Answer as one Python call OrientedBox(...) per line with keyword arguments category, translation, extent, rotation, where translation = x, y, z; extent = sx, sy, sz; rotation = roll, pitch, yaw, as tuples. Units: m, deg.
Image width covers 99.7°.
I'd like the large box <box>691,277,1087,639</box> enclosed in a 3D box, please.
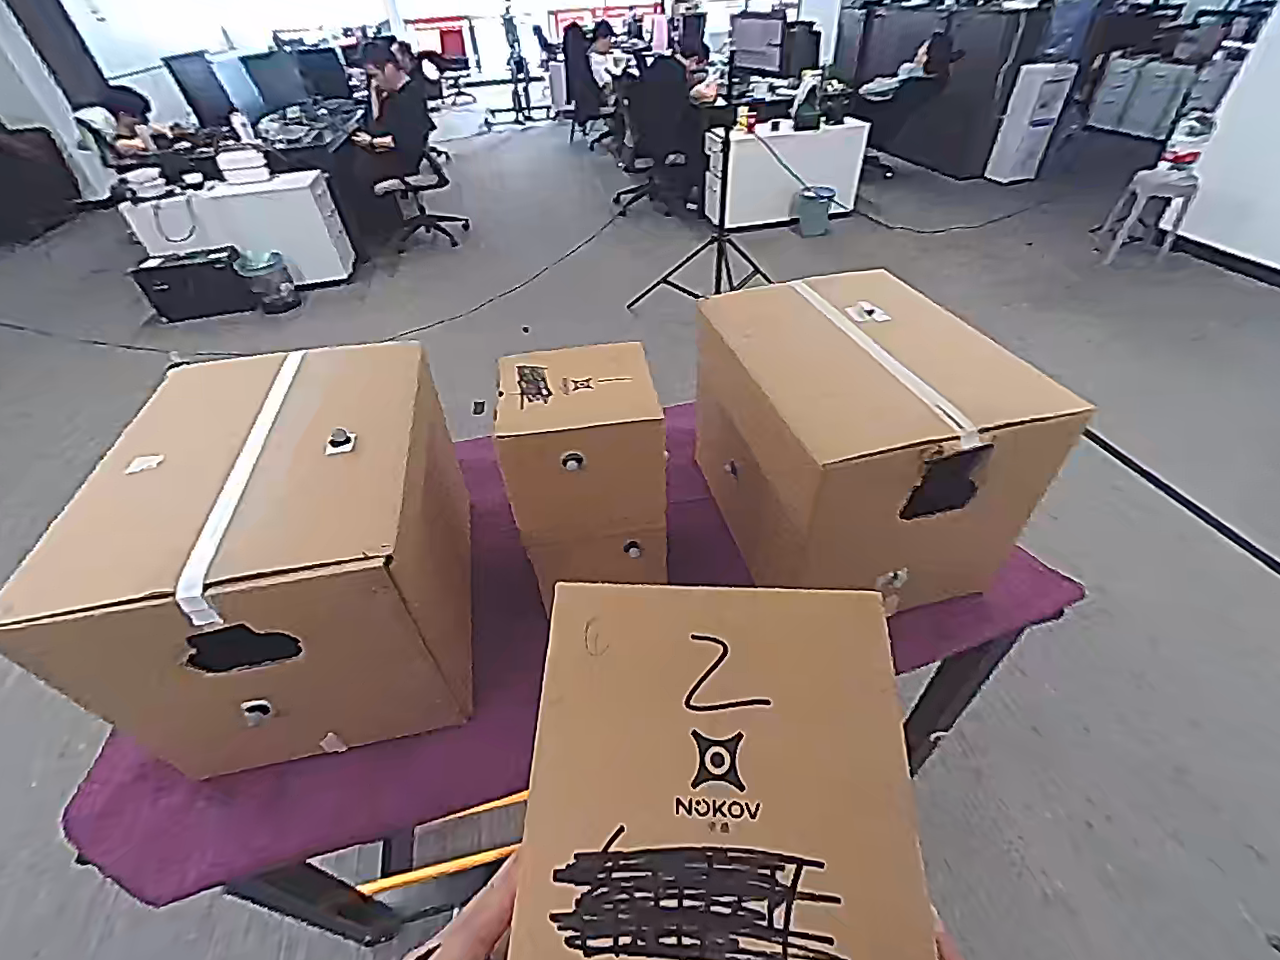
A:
OrientedBox(category="large box", translation=(0.282, -0.052, 0.780), extent=(0.320, 0.320, 0.408), rotation=(-11, 41, -9))
